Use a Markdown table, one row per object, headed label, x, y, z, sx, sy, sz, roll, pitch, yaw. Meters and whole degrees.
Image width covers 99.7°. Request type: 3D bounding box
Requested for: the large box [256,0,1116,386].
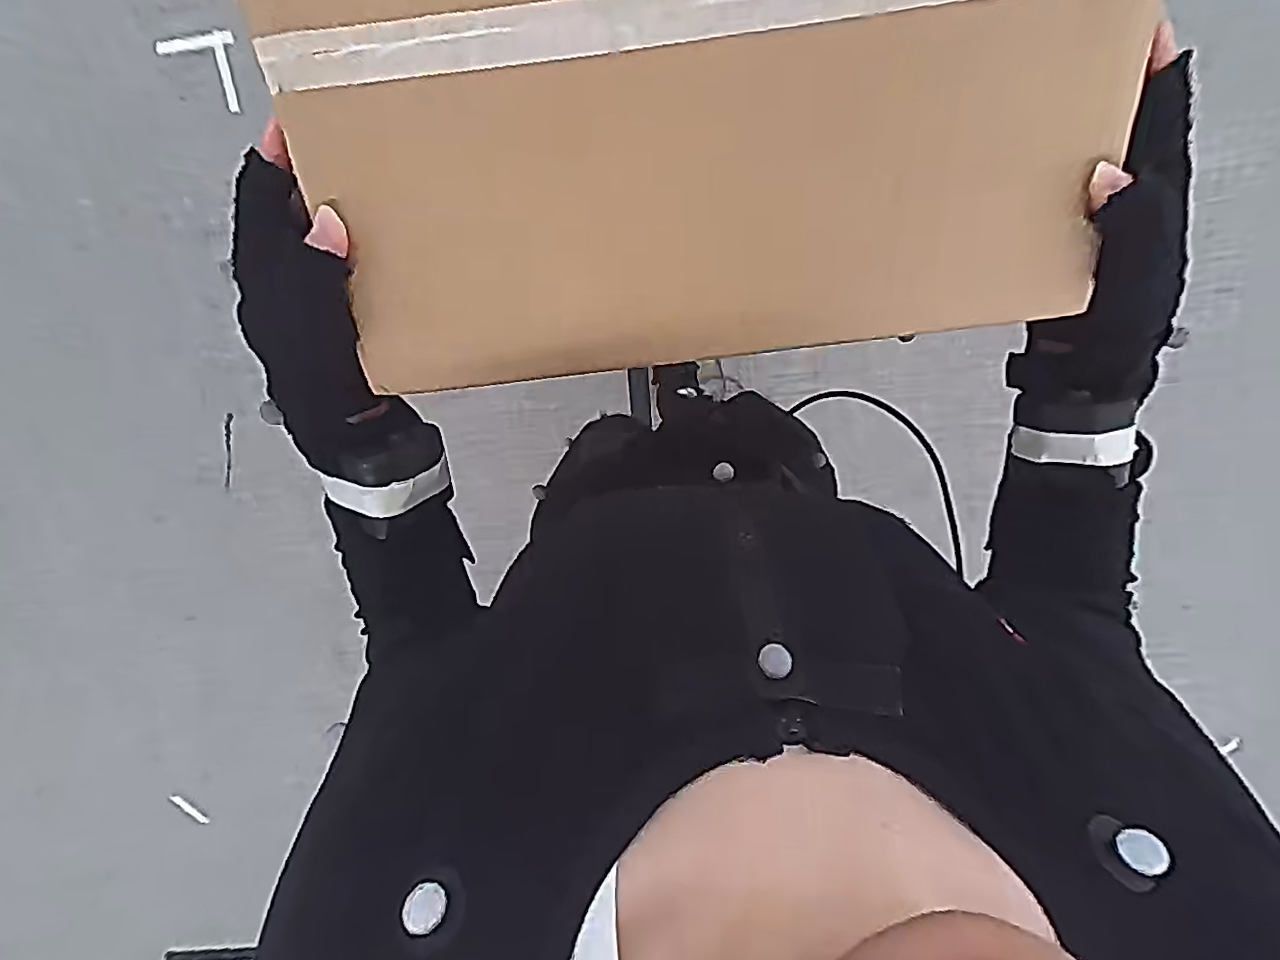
| label | x | y | z | sx | sy | sz | roll | pitch | yaw |
| --- | --- | --- | --- | --- | --- | --- | --- | --- | --- |
| large box | 0.023 | -0.281 | 0.384 | 0.408 | 0.320 | 0.320 | -7 | 115 | 2 |
